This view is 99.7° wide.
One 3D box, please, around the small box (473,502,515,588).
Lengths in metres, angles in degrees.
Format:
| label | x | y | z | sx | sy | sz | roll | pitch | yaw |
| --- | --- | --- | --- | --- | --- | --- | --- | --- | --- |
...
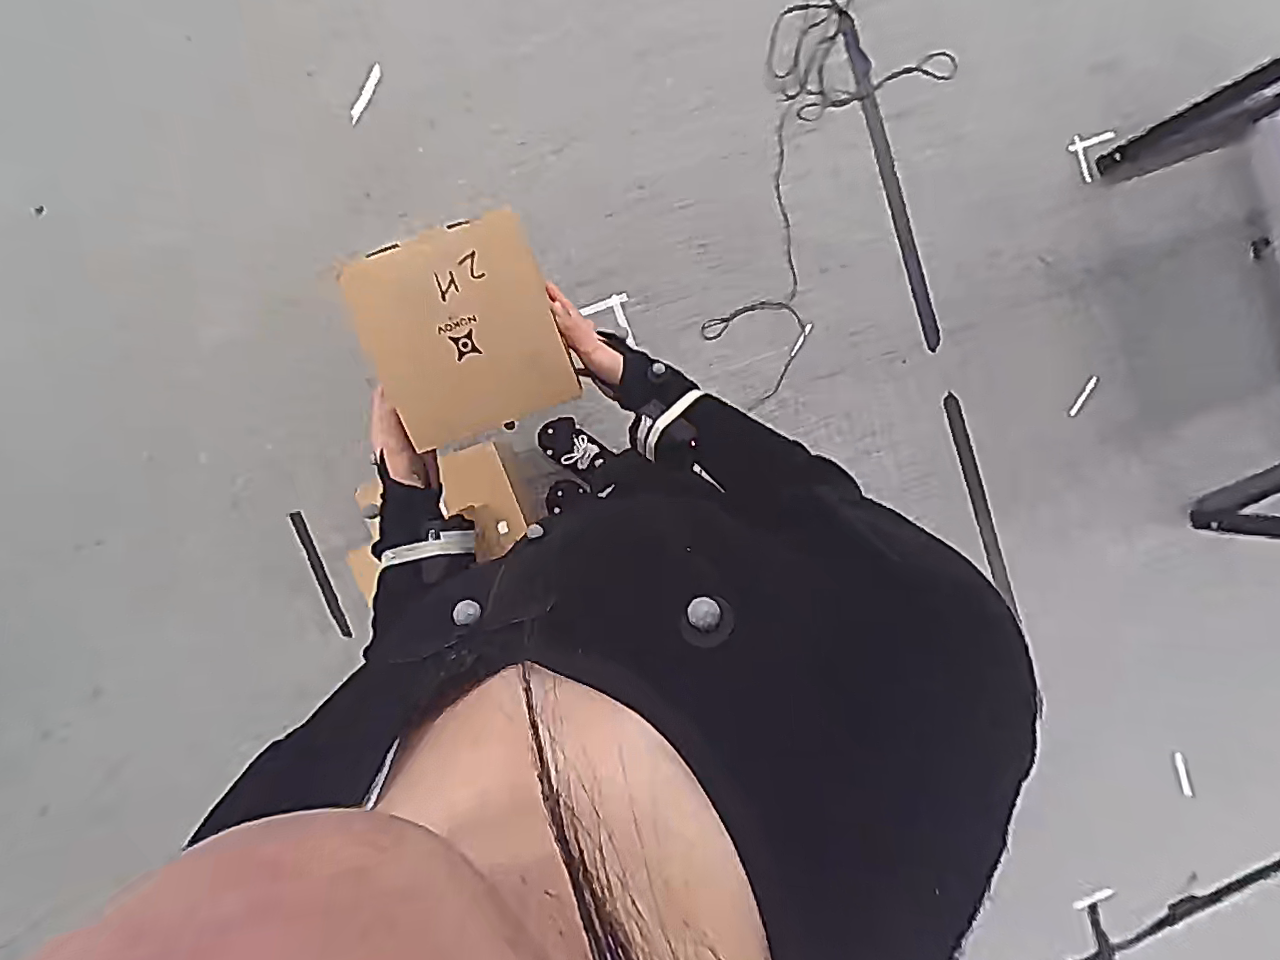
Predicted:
| label | x | y | z | sx | sy | sz | roll | pitch | yaw |
| --- | --- | --- | --- | --- | --- | --- | --- | --- | --- |
| small box | -0.368 | 0.154 | 1.093 | 0.179 | 0.176 | 0.168 | -21 | 95 | -6 |

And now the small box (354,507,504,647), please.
| label | x | y | z | sx | sy | sz | roll | pitch | yaw |
| --- | --- | --- | --- | --- | --- | --- | --- | --- | --- |
| small box | -0.346 | 0.154 | 0.932 | 0.179 | 0.176 | 0.168 | -23 | 94 | -5 |
